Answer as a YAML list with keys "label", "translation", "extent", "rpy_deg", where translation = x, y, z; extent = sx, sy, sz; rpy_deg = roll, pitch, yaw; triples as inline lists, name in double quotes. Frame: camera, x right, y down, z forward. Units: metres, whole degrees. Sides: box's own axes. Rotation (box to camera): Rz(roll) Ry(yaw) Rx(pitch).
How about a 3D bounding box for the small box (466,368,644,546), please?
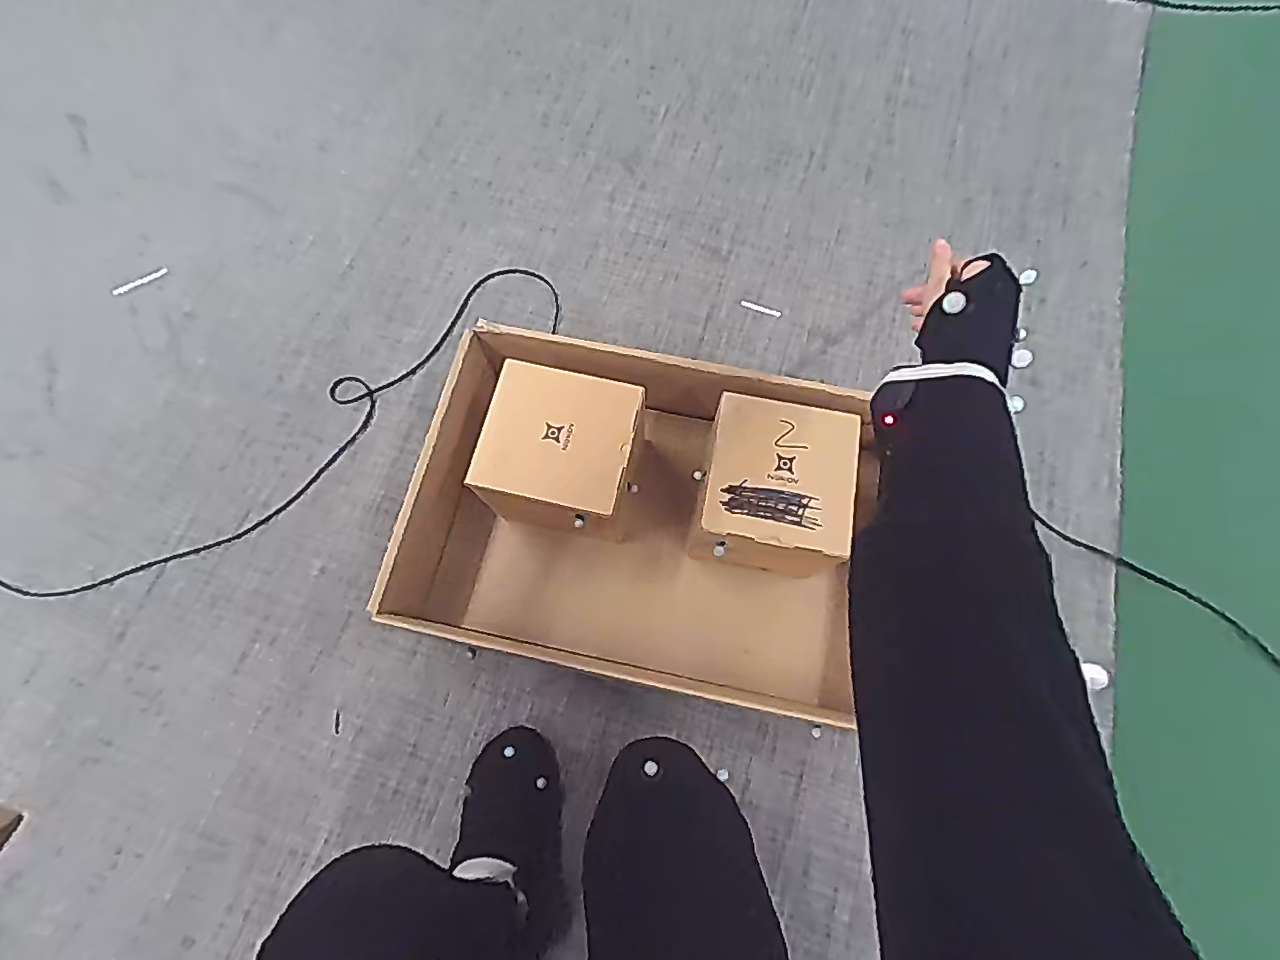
- label: "small box"
  translation: [-0.098, -0.020, 0.708]
  extent: [0.179, 0.176, 0.168]
  rpy_deg: [12, 73, 3]
